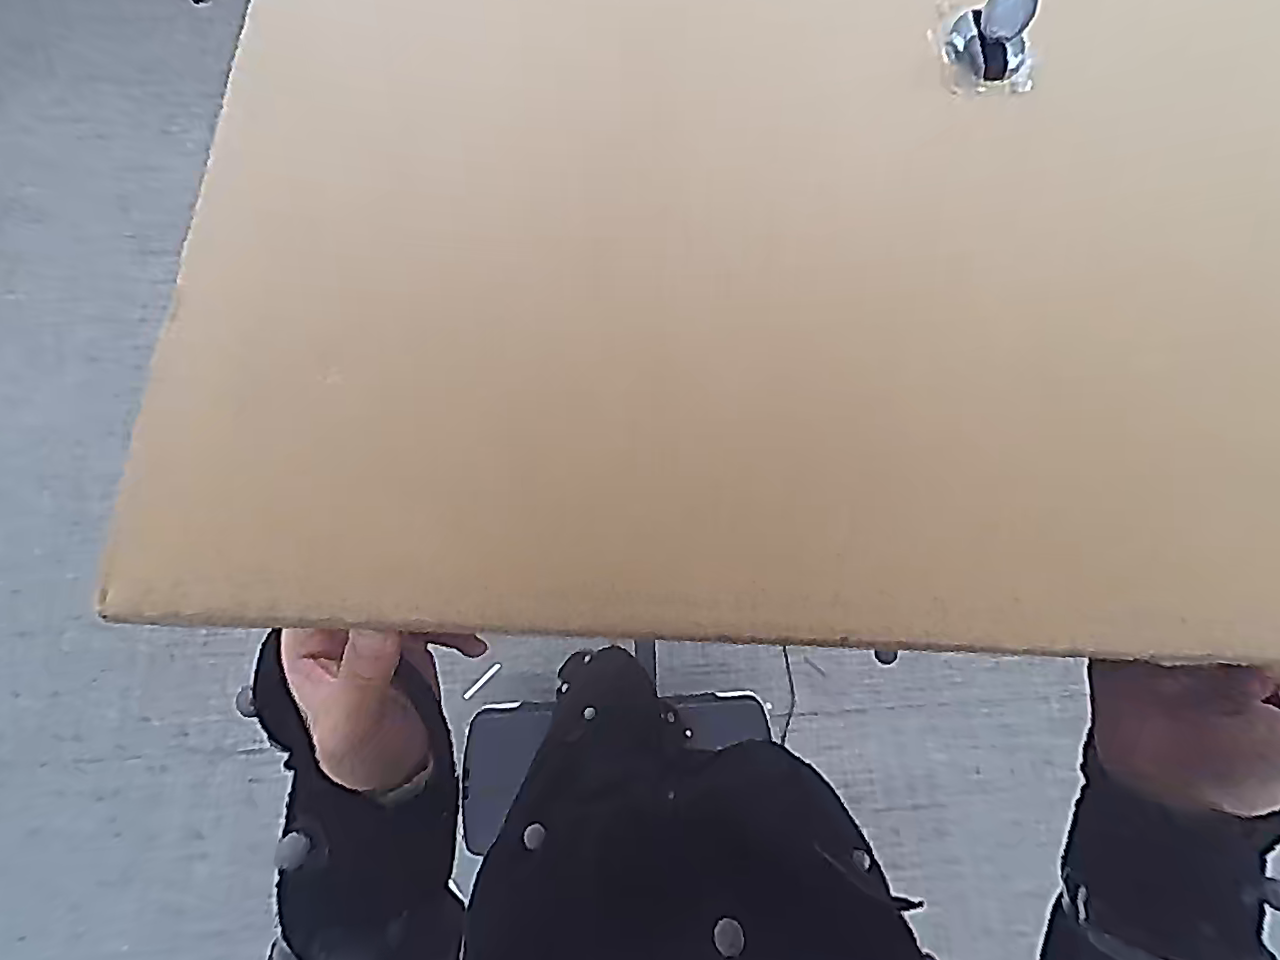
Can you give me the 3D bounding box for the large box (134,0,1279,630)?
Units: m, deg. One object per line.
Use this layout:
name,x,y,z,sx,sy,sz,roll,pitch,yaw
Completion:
large box,0.082,-0.089,0.300,0.408,0.320,0.320,3,78,-3
